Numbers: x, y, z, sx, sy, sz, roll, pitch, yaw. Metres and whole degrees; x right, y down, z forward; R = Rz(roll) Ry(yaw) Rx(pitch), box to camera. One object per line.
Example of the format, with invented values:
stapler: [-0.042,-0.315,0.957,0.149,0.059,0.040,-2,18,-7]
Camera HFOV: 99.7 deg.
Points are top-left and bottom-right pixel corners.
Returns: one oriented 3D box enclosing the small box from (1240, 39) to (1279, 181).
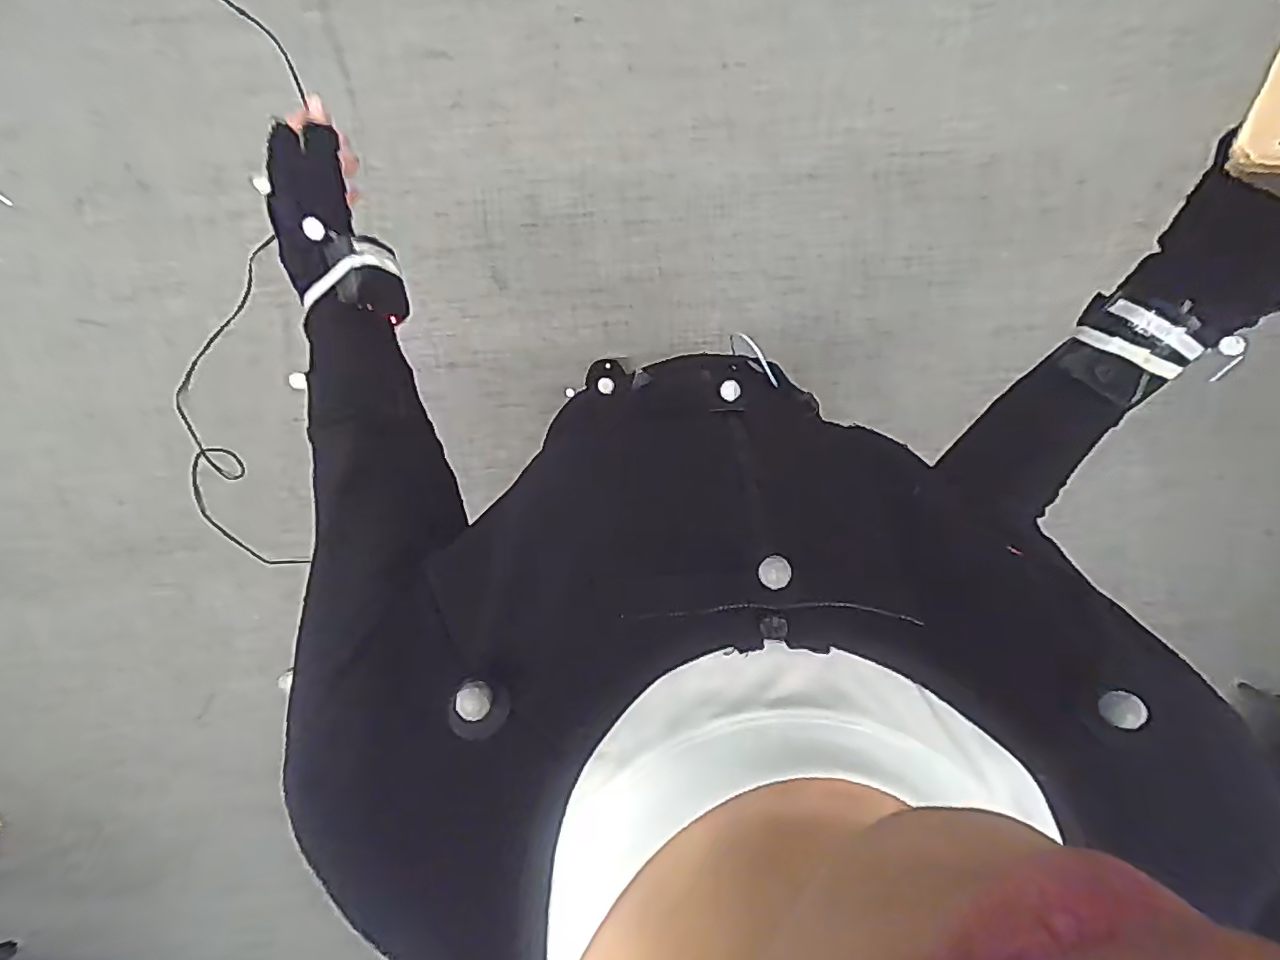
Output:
small box: [0.350,-0.180,0.161,0.179,0.176,0.168,-13,121,-32]
